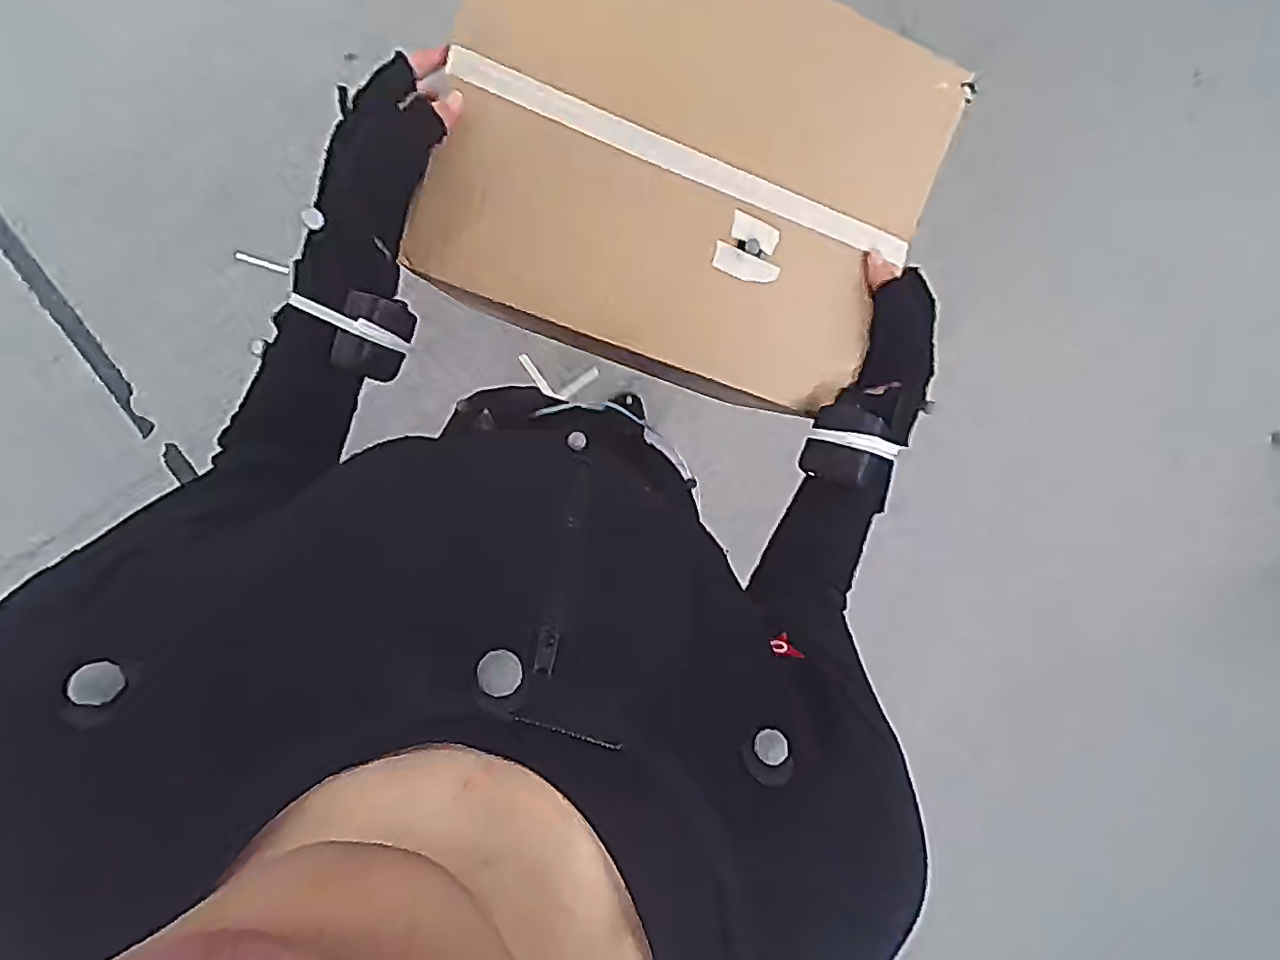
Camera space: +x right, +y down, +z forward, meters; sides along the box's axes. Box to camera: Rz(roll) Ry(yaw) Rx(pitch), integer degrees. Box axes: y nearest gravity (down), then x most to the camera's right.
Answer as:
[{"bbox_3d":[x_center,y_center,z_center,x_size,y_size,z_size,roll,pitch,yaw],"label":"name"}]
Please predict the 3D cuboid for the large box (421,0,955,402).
[{"bbox_3d":[0.026,-0.300,0.606,0.408,0.320,0.320,17,100,-11],"label":"large box"}]
